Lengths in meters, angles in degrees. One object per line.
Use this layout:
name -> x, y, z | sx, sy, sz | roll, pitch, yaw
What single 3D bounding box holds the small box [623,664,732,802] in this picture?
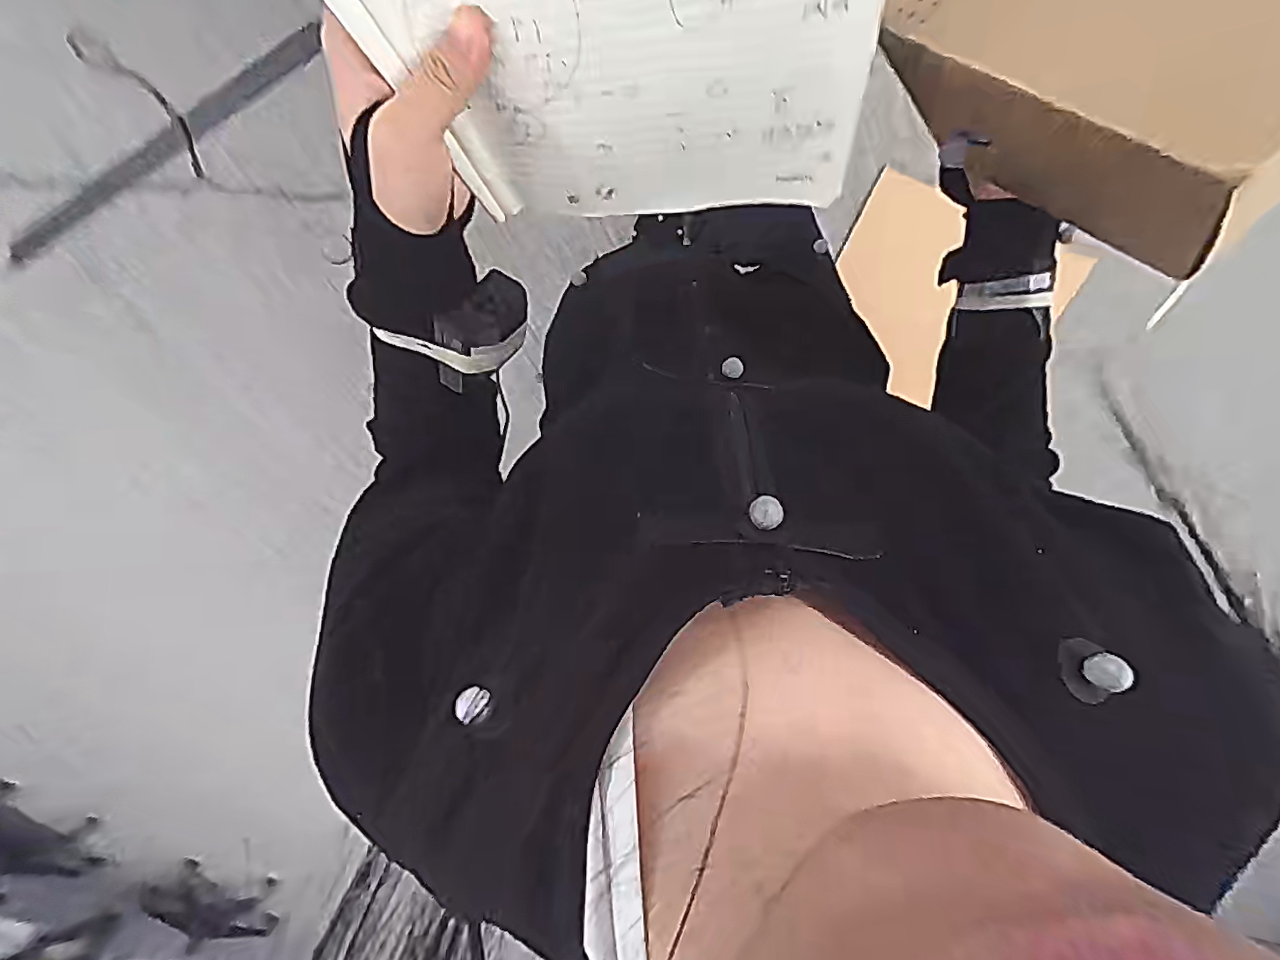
small box -> 0.074, 0.506, 1.089 | 0.168, 0.176, 0.179 | -20, 119, 9
